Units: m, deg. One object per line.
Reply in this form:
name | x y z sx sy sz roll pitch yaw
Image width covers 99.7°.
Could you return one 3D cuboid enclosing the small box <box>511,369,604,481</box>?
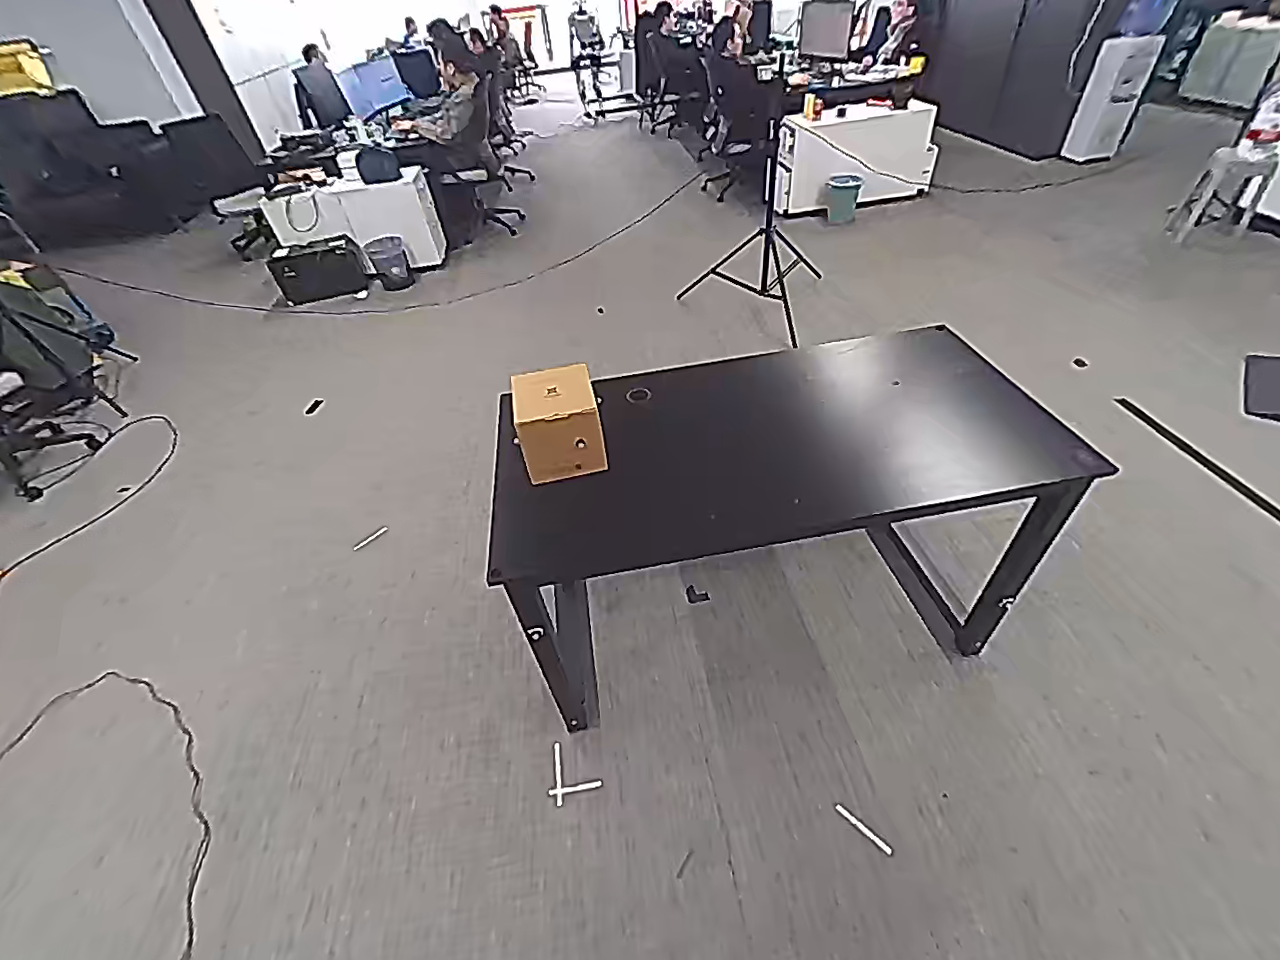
small box | -0.177 -0.113 1.170 0.168 0.176 0.179 -11 43 -7
